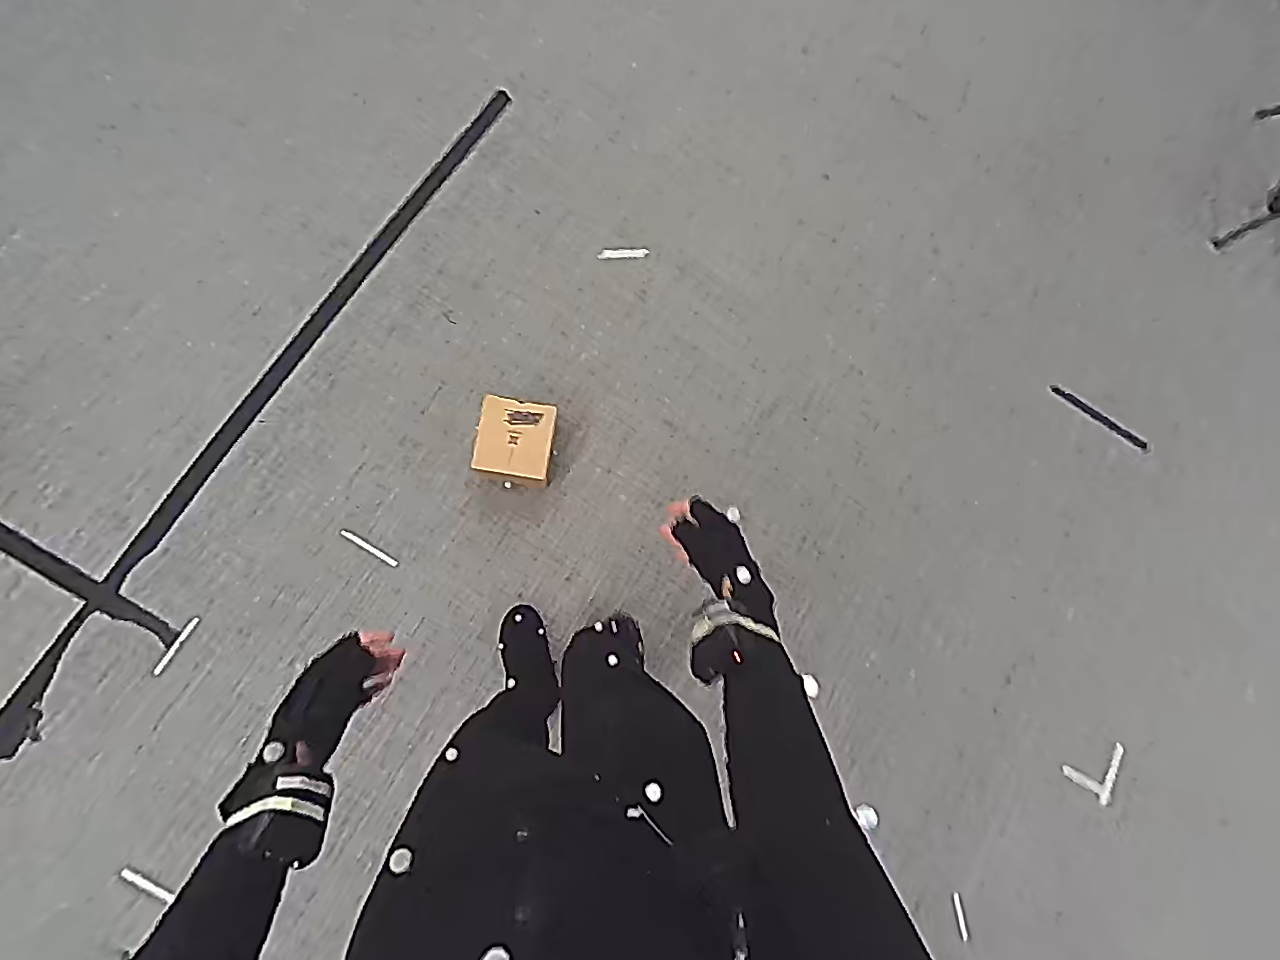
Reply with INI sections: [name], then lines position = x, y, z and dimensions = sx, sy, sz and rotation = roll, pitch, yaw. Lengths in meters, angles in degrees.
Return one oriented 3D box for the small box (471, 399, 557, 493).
[small box]
position = -0.297, -0.076, 1.297
dimensions = 0.168, 0.176, 0.179
rotation = 10, 81, -7
